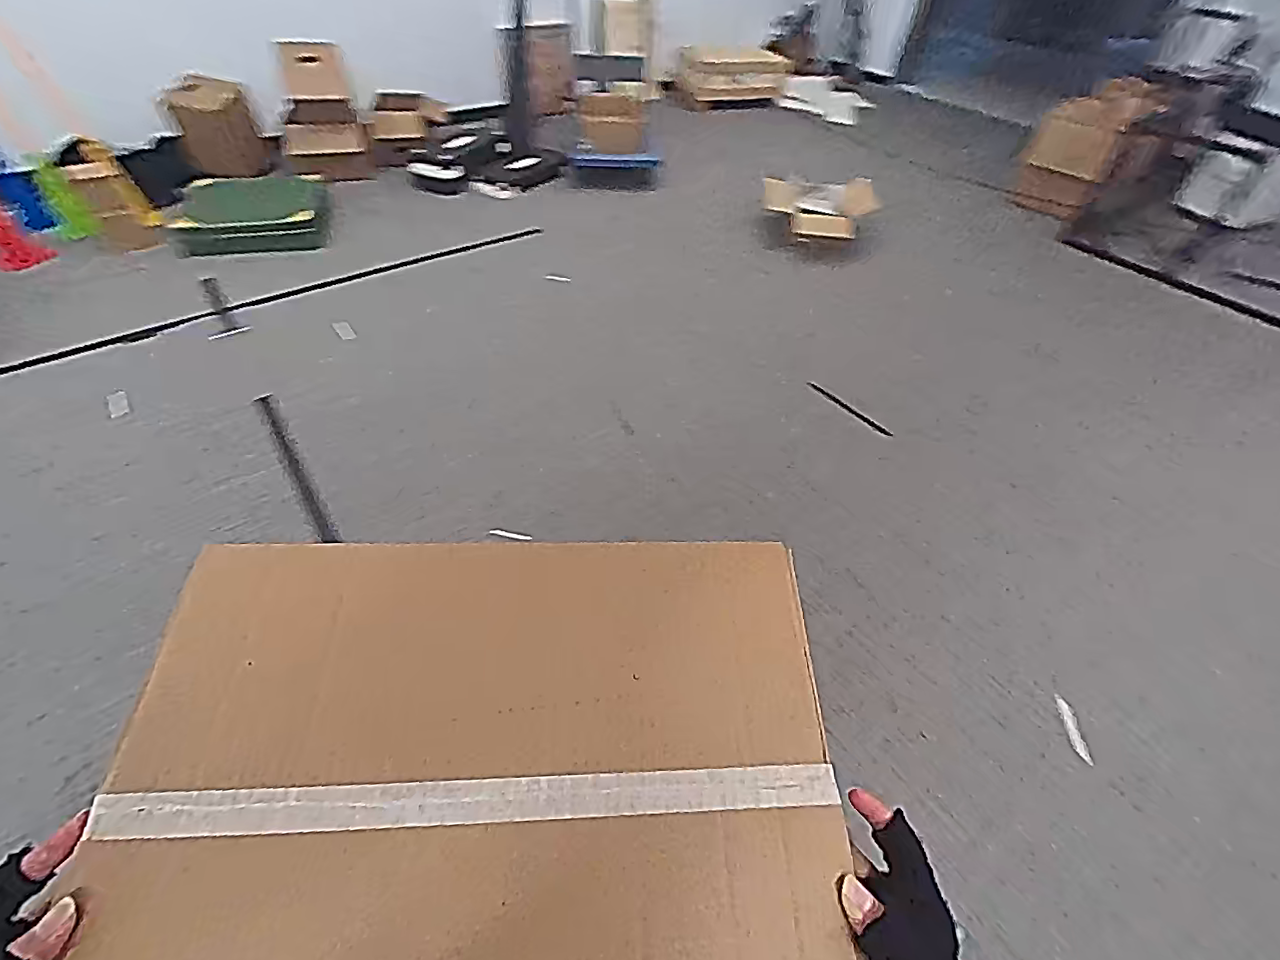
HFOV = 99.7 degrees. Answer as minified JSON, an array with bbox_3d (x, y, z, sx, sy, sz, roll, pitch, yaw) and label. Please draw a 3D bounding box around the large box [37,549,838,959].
[{"bbox_3d":[-0.107,0.264,0.436,0.408,0.320,0.320,-1,58,-5],"label":"large box"}]
